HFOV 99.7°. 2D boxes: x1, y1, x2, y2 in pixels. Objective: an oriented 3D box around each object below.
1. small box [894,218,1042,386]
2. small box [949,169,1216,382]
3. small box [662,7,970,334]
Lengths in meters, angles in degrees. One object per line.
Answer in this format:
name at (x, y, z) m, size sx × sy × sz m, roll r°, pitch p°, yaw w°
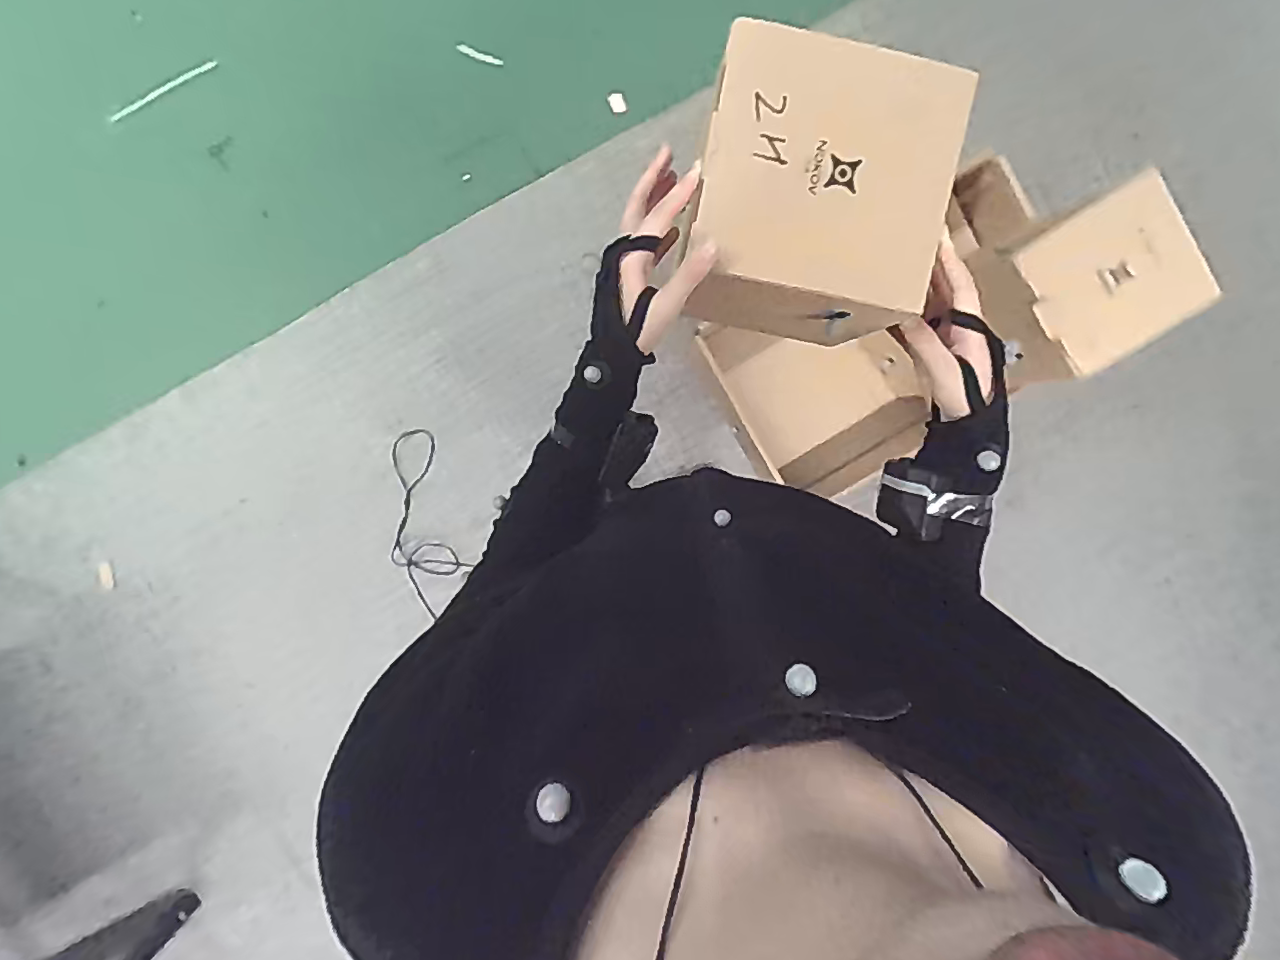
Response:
small box at (0.529, -0.260, 0.843) m, size 0.179 × 0.176 × 0.168 m, roll -35°, pitch 95°, yaw 4°
small box at (0.530, -0.236, 0.681) m, size 0.179 × 0.176 × 0.168 m, roll -32°, pitch 96°, yaw 4°
small box at (0.123, -0.227, 0.450) m, size 0.179 × 0.176 × 0.168 m, roll 11°, pitch 95°, yaw -3°
